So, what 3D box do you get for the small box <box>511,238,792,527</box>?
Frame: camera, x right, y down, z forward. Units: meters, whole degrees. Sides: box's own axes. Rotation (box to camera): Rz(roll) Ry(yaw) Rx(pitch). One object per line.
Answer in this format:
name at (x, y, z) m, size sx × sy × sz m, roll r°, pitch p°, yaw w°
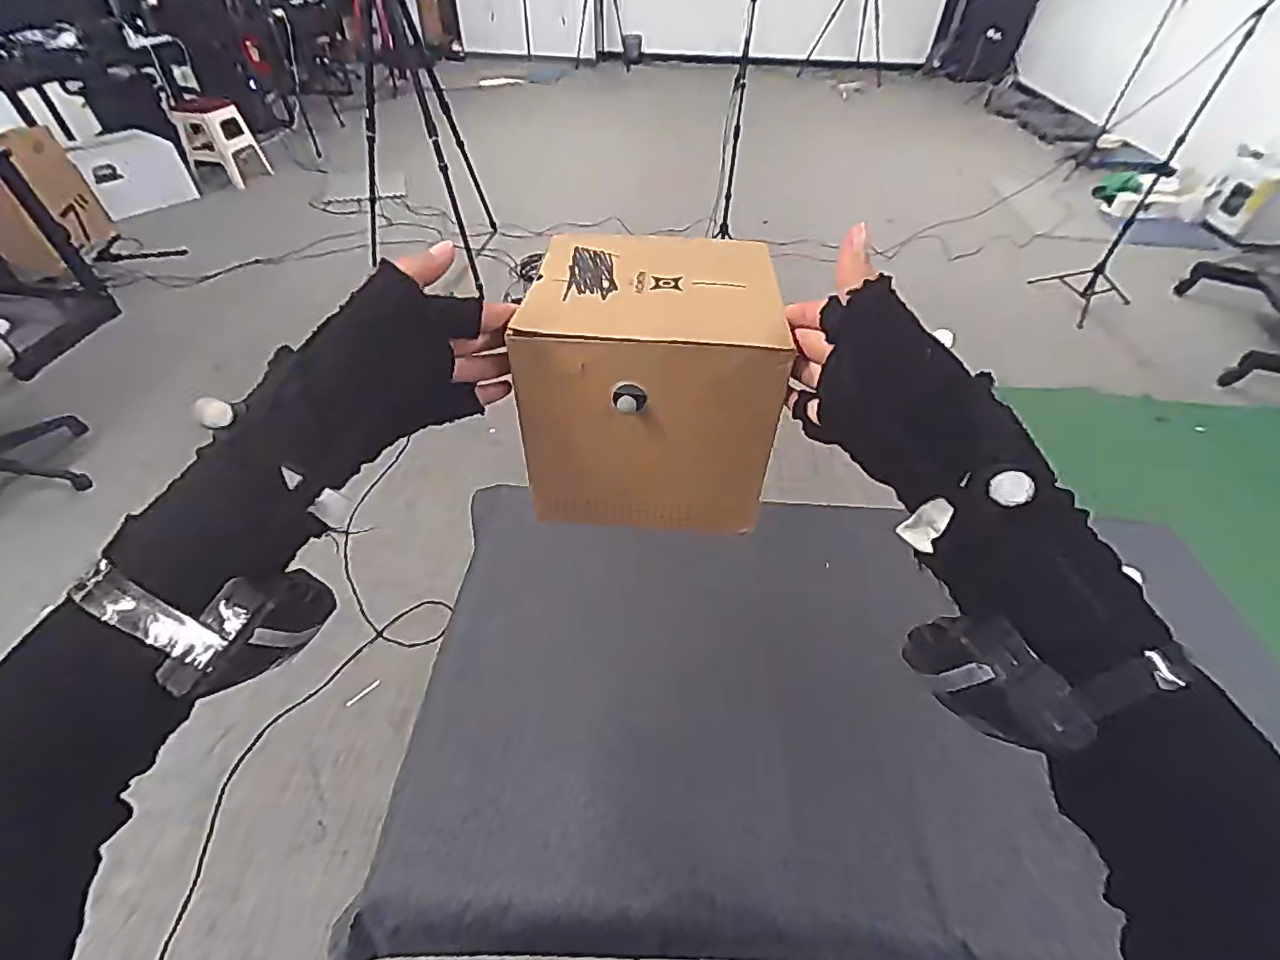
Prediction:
small box at (0.011, -0.078, 0.438) m, size 0.179 × 0.176 × 0.168 m, roll 4°, pitch 45°, yaw 2°
